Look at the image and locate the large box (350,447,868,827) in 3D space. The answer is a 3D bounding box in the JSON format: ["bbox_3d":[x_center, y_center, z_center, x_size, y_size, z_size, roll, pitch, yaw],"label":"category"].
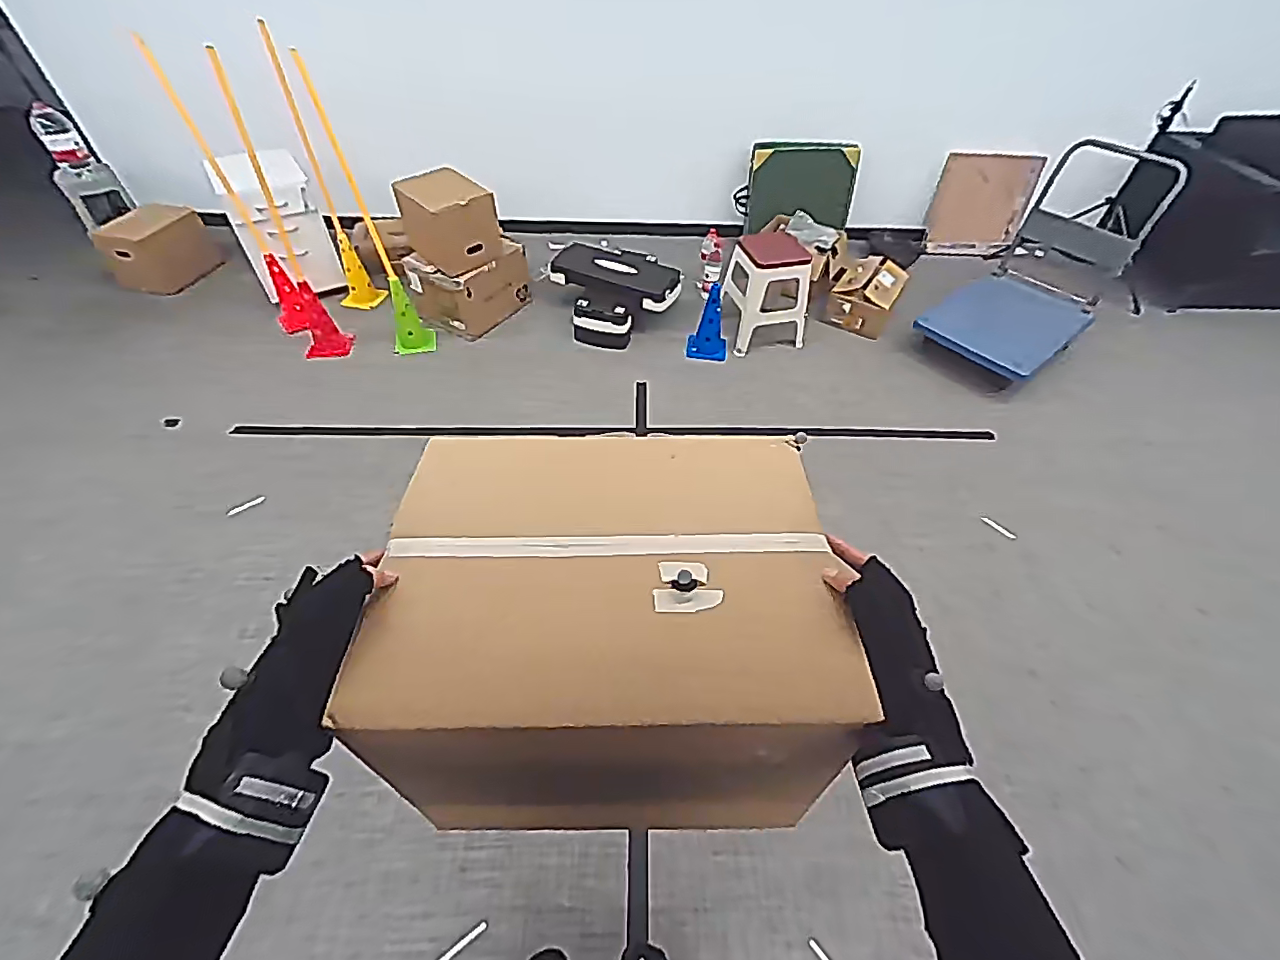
[{"bbox_3d":[-0.027,0.176,0.616,0.408,0.320,0.320,0,46,-1],"label":"large box"}]
